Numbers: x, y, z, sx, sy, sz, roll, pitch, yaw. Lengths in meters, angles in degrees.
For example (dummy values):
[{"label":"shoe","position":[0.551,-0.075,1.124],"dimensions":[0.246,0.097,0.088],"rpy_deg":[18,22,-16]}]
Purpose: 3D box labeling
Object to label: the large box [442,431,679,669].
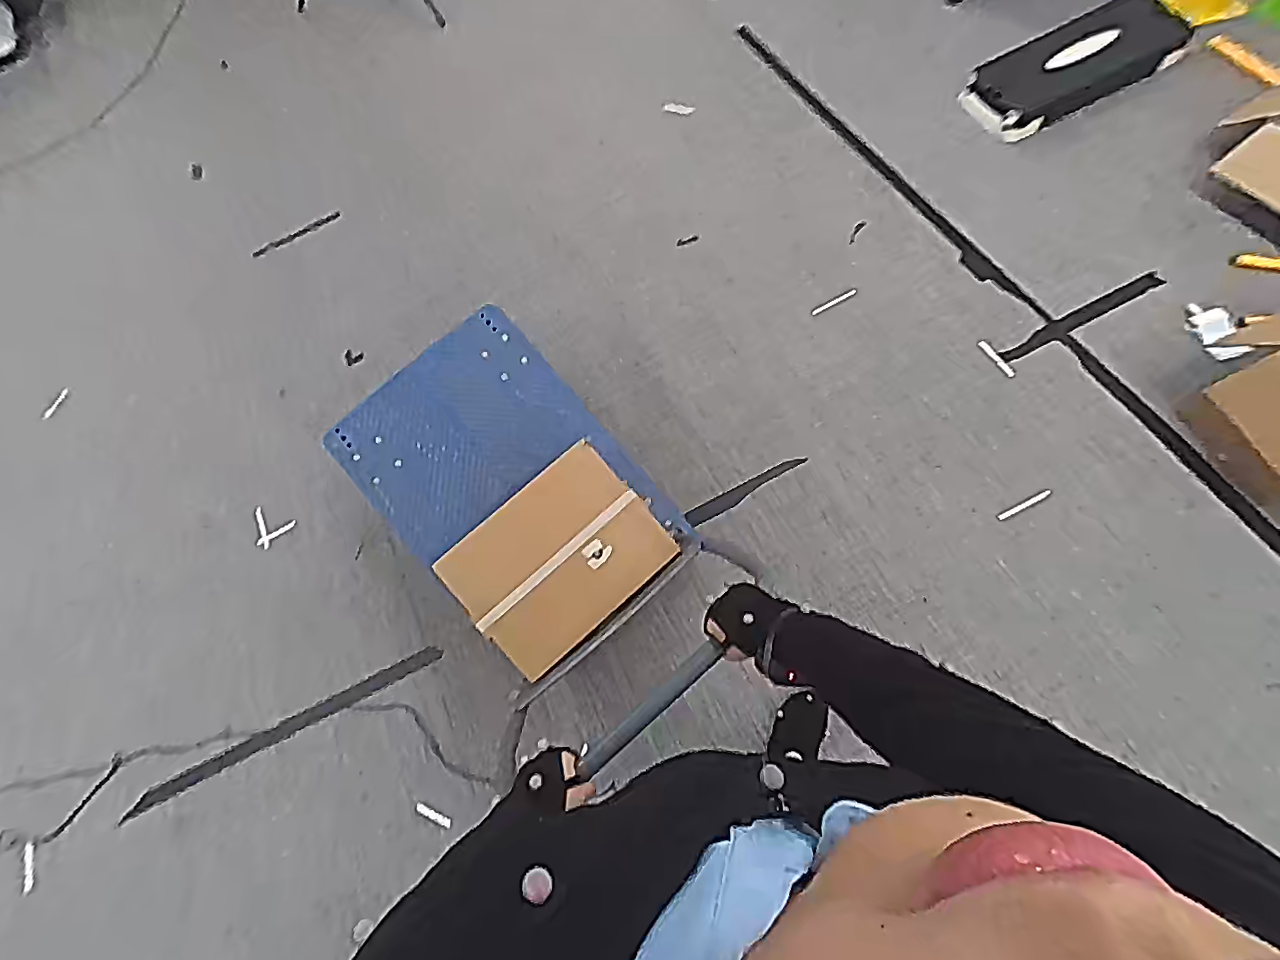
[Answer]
[{"label":"large box","position":[-0.172,0.157,1.261],"dimensions":[0.408,0.320,0.320],"rpy_deg":[-42,89,-8]}]
